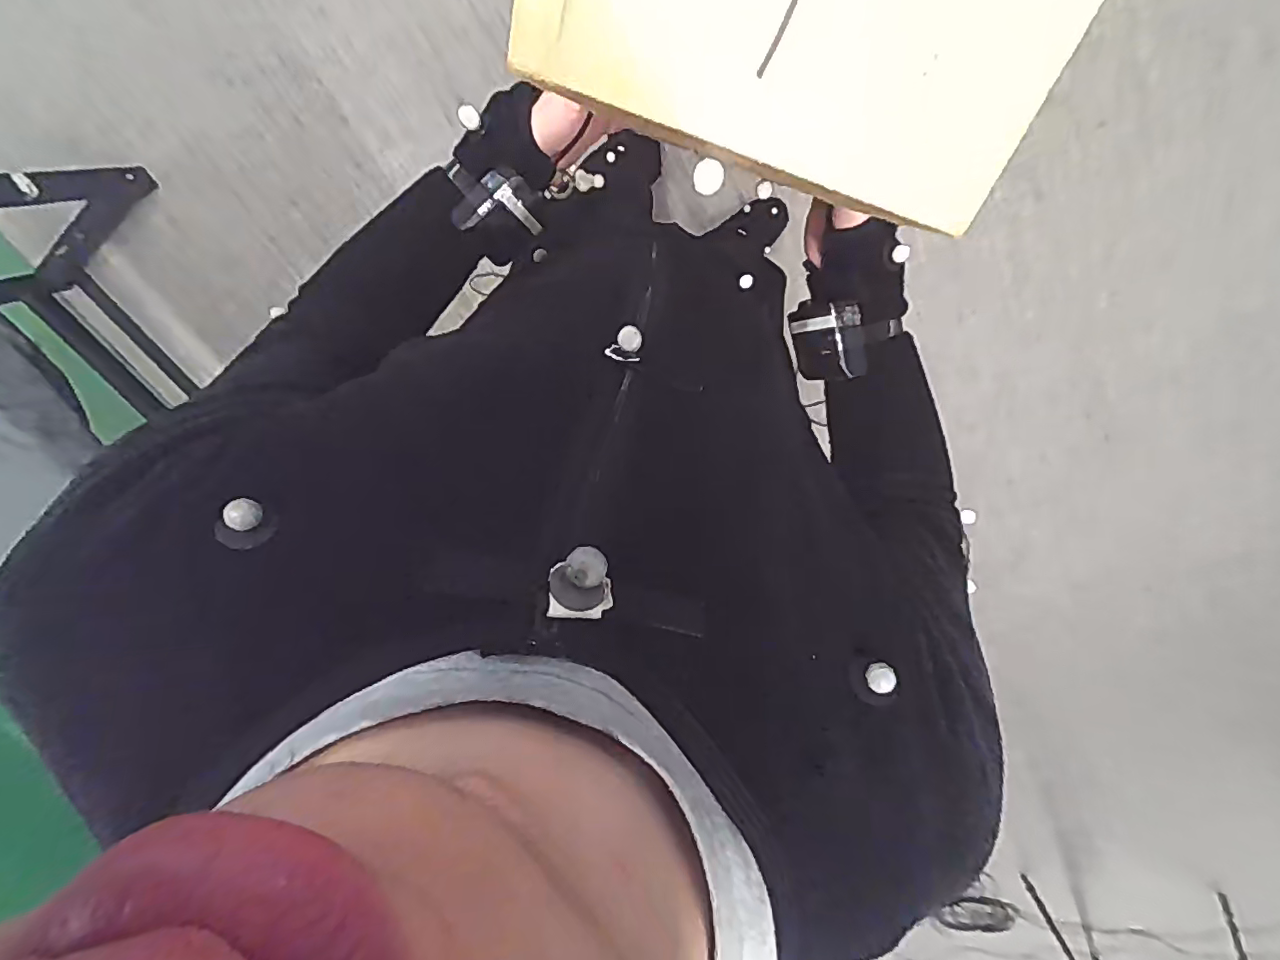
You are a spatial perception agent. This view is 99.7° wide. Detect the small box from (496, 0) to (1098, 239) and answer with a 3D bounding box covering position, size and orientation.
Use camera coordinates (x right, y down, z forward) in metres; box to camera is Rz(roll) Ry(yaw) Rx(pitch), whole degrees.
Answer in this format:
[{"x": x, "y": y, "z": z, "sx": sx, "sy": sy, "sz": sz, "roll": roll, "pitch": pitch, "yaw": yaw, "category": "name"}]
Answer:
[{"x": 0.065, "y": -0.217, "z": 0.202, "sx": 0.168, "sy": 0.176, "sz": 0.179, "roll": 19, "pitch": 122, "yaw": -4, "category": "small box"}]
